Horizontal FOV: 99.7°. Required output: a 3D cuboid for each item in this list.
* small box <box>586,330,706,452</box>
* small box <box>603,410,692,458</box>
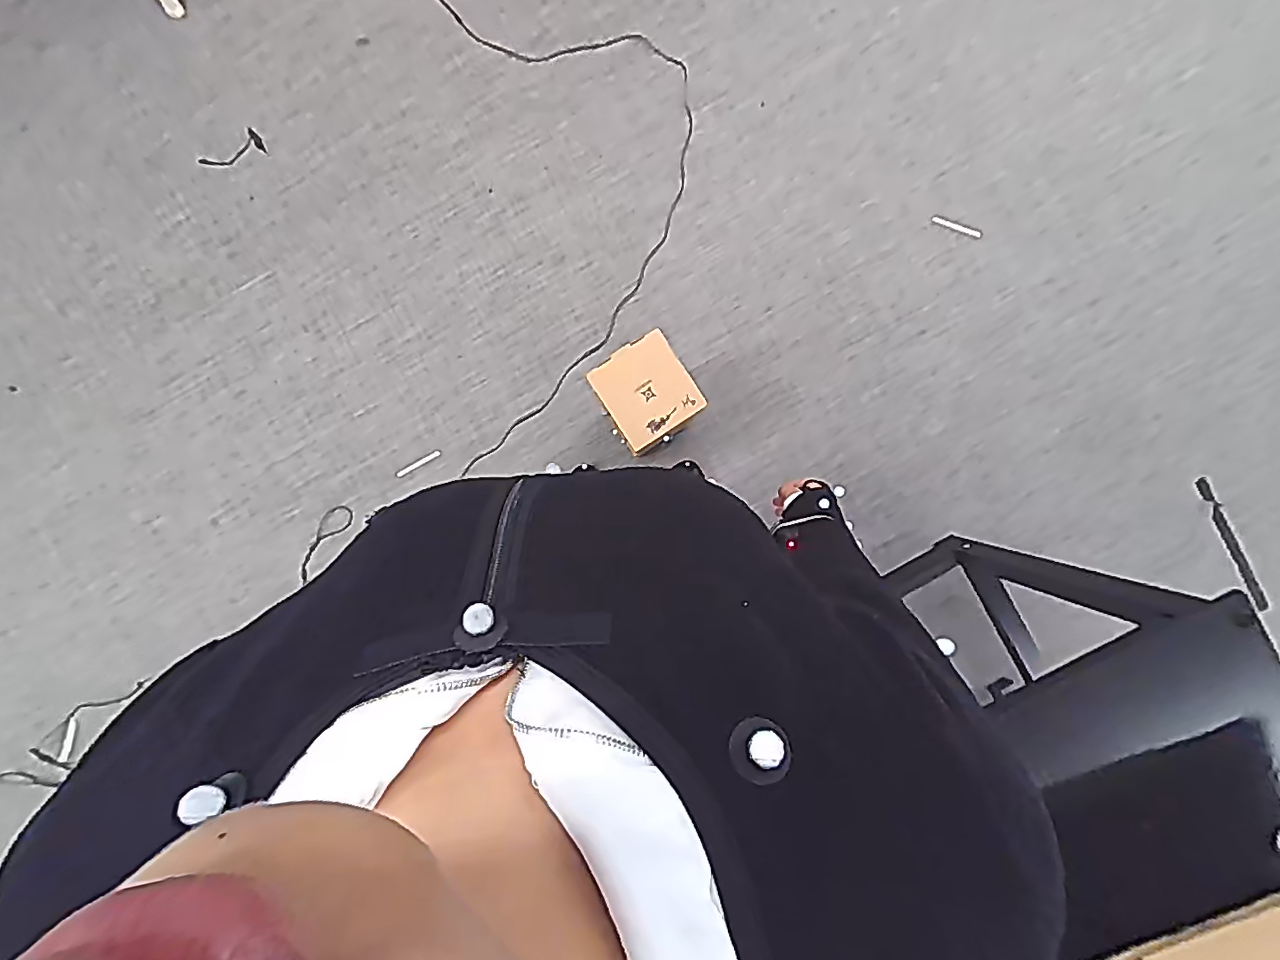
[{"bbox_3d":[0.012,-0.168,1.089,0.168,0.176,0.179,-33,91,2],"label":"small box"},{"bbox_3d":[0.016,-0.170,1.415,0.179,0.176,0.168,-33,90,3],"label":"small box"}]
